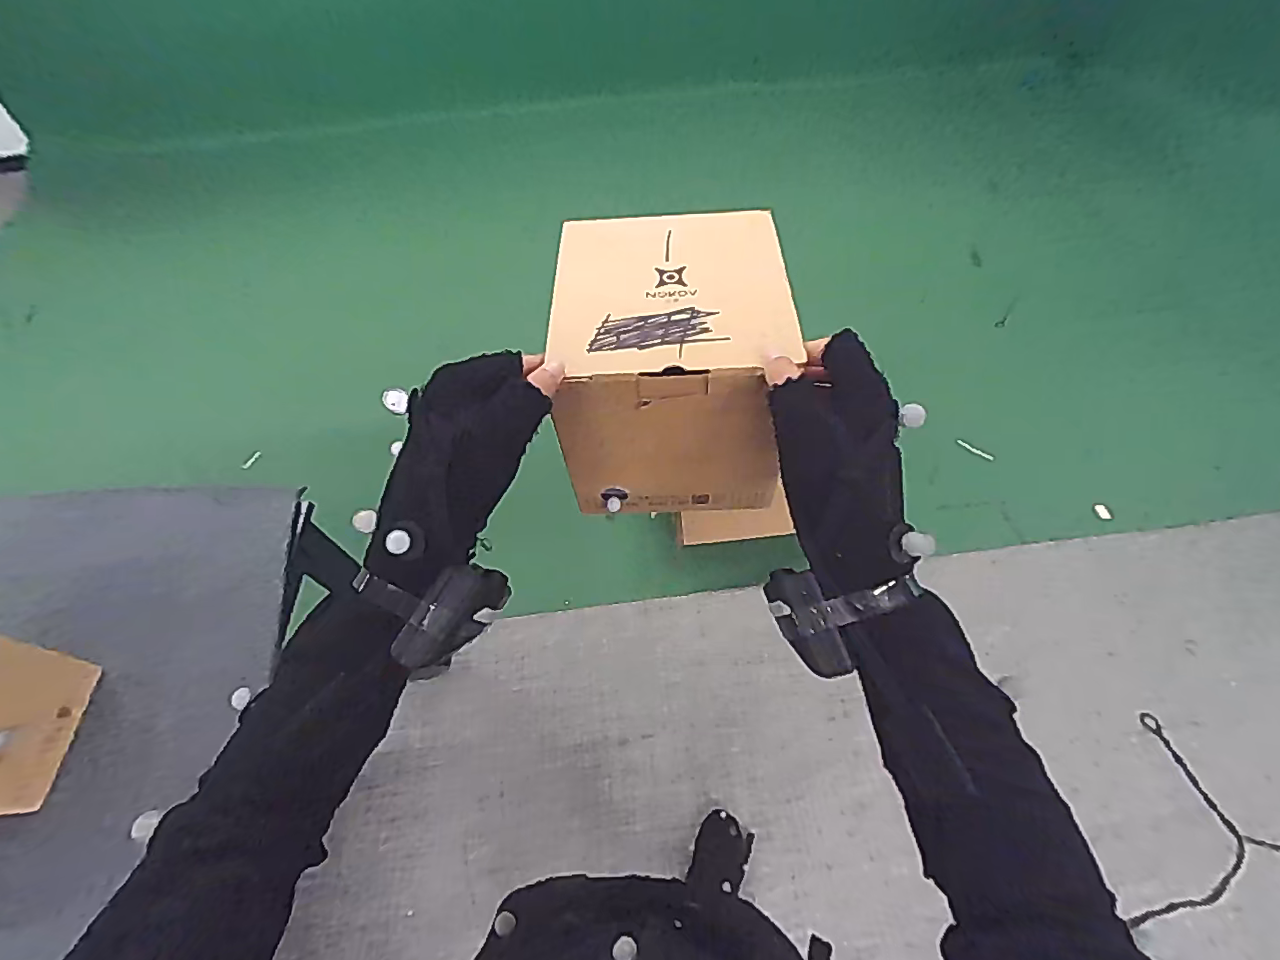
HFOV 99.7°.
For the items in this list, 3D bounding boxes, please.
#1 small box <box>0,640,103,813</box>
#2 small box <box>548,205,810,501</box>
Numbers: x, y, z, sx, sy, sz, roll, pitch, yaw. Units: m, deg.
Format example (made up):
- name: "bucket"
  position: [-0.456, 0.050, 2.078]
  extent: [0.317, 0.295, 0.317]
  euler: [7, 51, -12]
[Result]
- name: "small box"
  position: [-0.789, 0.282, 0.613]
  extent: [0.179, 0.176, 0.168]
  euler: [-6, 56, 0]
- name: "small box"
  position: [0.030, -0.093, 0.442]
  extent: [0.168, 0.176, 0.179]
  euler: [-2, 56, 3]
